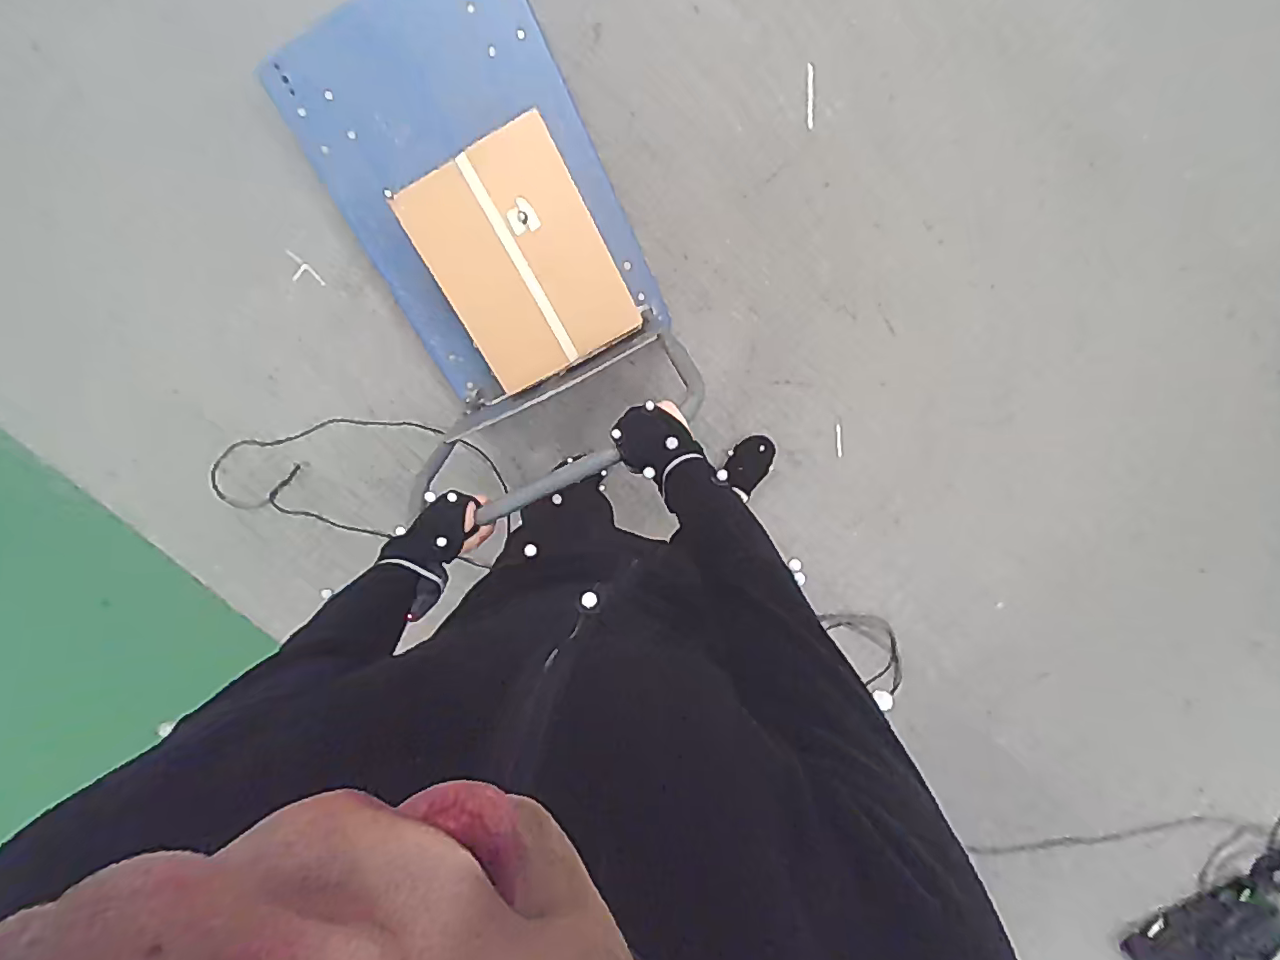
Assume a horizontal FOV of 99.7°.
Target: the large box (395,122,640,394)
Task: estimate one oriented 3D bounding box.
[{"bbox_3d":[-0.229,-0.455,1.175,0.320,0.320,0.408,-27,109,7],"label":"large box"}]
